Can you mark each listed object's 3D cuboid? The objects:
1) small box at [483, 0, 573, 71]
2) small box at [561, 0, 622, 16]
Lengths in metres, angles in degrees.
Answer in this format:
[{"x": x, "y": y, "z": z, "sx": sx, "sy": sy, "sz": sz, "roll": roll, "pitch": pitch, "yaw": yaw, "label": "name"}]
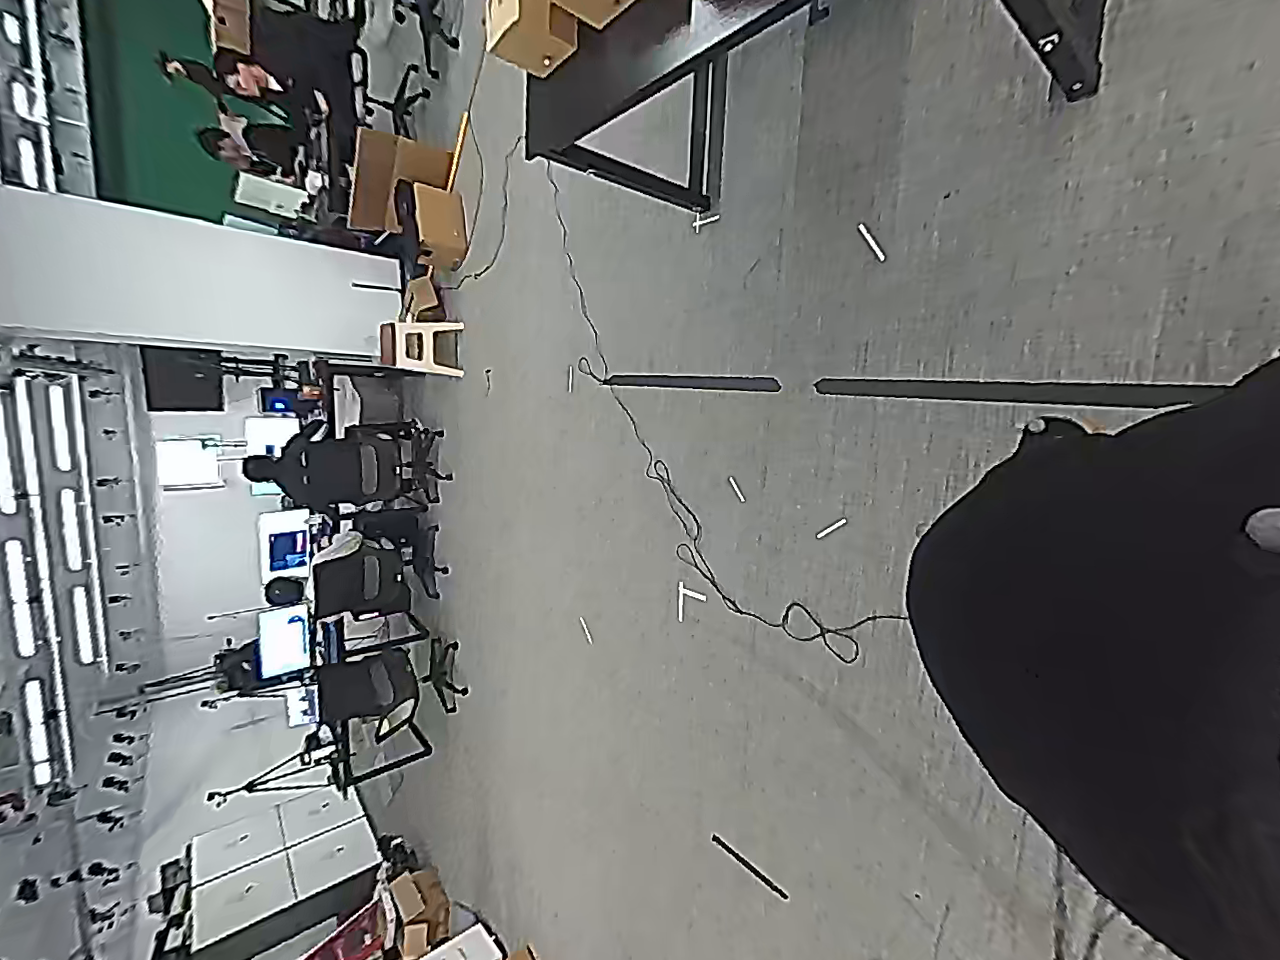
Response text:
[{"x": -0.278, "y": -1.181, "z": 1.358, "sx": 0.179, "sy": 0.176, "sz": 0.168, "roll": 10, "pitch": 101, "yaw": 48, "label": "small box"}, {"x": -0.107, "y": -1.152, "z": 1.161, "sx": 0.168, "sy": 0.176, "sz": 0.179, "roll": 12, "pitch": 102, "yaw": 48, "label": "small box"}]
